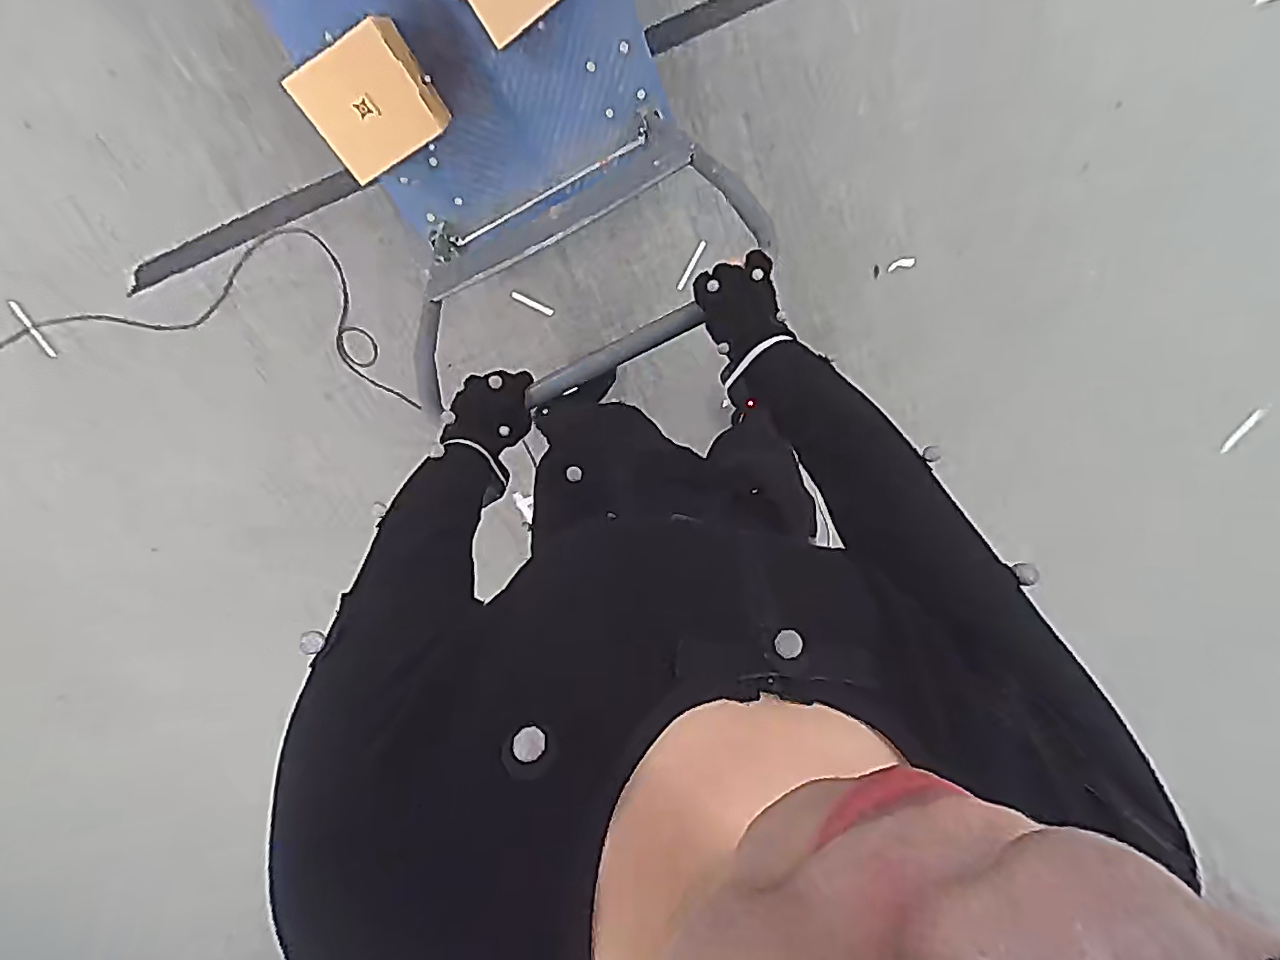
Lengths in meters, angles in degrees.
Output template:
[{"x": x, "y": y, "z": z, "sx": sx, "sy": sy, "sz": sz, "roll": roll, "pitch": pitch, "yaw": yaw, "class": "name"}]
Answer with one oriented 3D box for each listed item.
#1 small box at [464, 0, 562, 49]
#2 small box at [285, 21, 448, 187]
[{"x": -0.207, "y": -0.814, "z": 0.842, "sx": 0.179, "sy": 0.176, "sz": 0.168, "roll": -31, "pitch": 129, "yaw": 13, "class": "small box"}, {"x": -0.452, "y": -0.642, "z": 0.930, "sx": 0.179, "sy": 0.176, "sz": 0.168, "roll": -29, "pitch": 129, "yaw": 9, "class": "small box"}]
